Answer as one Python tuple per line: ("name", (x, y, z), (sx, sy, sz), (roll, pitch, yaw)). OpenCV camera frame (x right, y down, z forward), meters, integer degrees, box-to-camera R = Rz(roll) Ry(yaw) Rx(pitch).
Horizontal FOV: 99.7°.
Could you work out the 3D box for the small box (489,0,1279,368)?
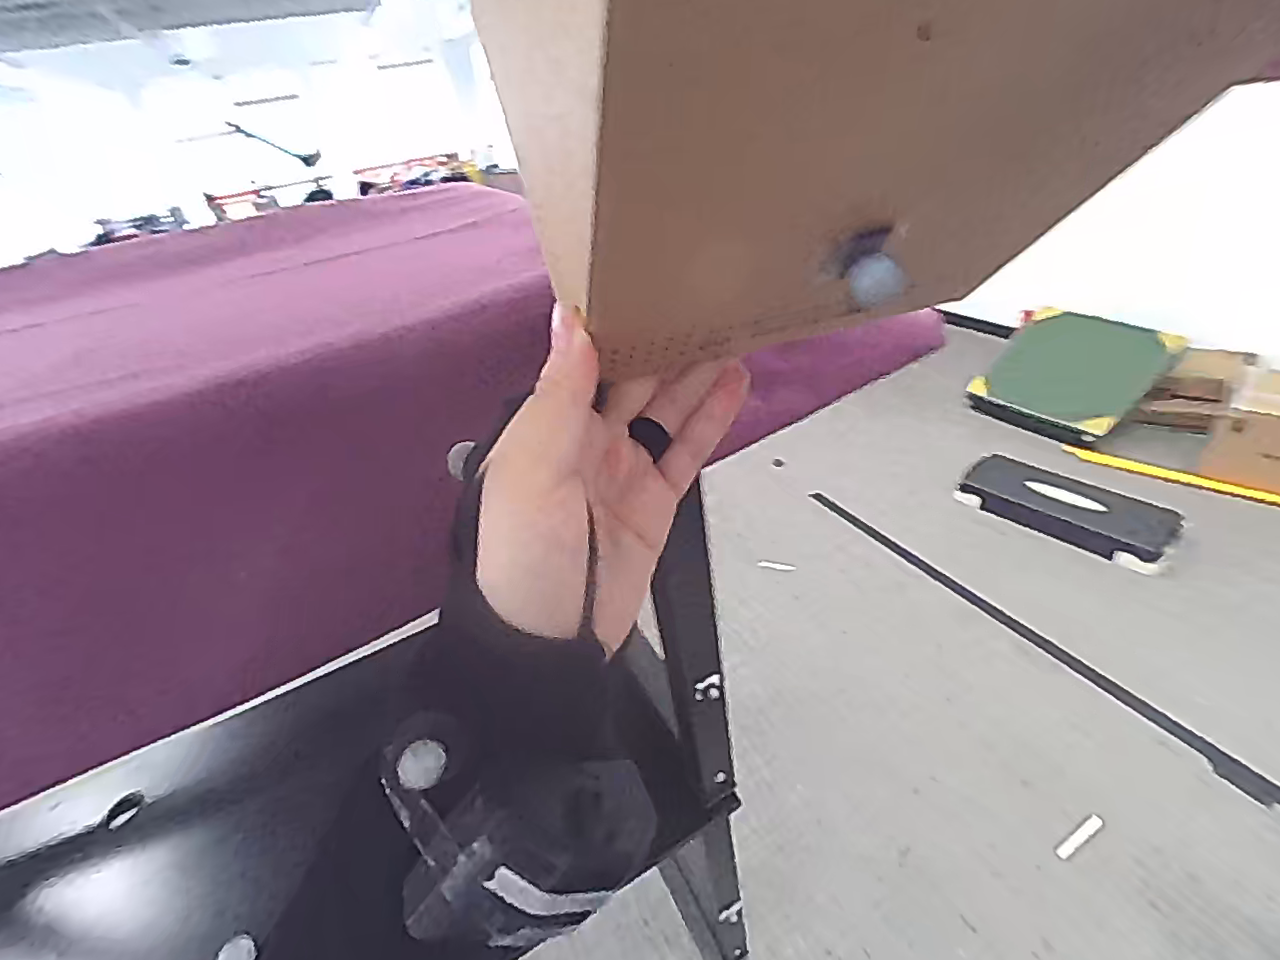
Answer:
("small box", (0.048, -0.152, 0.132), (0.168, 0.176, 0.179), (-14, 80, -10))
